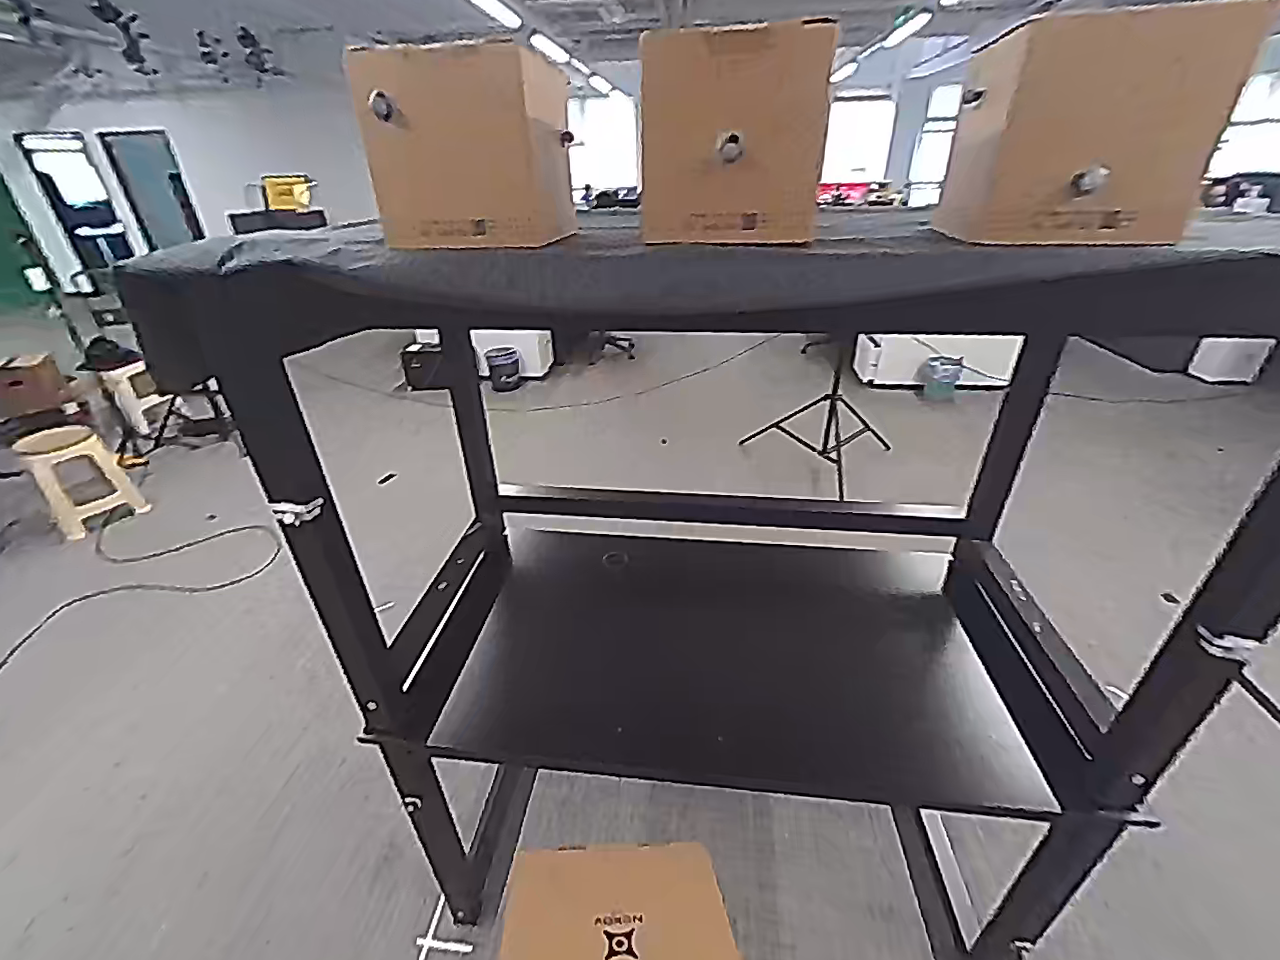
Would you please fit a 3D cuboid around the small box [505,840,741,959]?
[{"bbox_3d":[-0.017,0.408,0.394,0.168,0.176,0.179,1,6,-8],"label":"small box"}]

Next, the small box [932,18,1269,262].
[{"bbox_3d":[0.403,-0.314,0.522,0.168,0.176,0.179,5,30,12],"label":"small box"}]

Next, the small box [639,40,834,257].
[{"bbox_3d":[0.093,-0.330,0.563,0.168,0.176,0.179,3,29,6],"label":"small box"}]
